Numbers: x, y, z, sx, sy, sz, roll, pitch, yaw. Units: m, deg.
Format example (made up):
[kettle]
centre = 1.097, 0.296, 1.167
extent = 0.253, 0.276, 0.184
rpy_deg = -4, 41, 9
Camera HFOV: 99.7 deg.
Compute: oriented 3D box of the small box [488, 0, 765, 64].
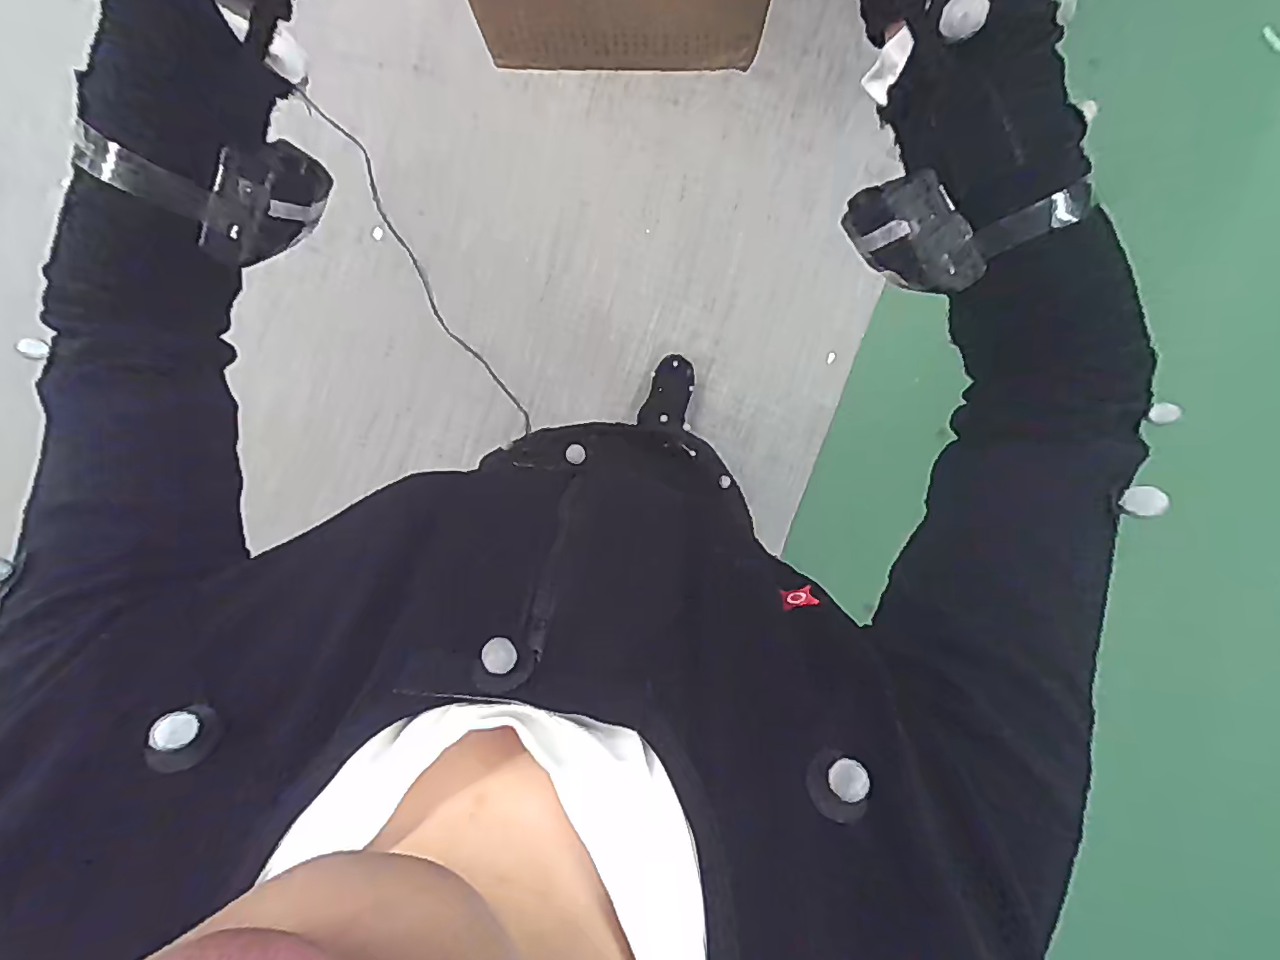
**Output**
[small box]
centre = -0.007, -0.358, 0.282
extent = 0.179, 0.176, 0.168
rpy_deg = 2, 94, 1
